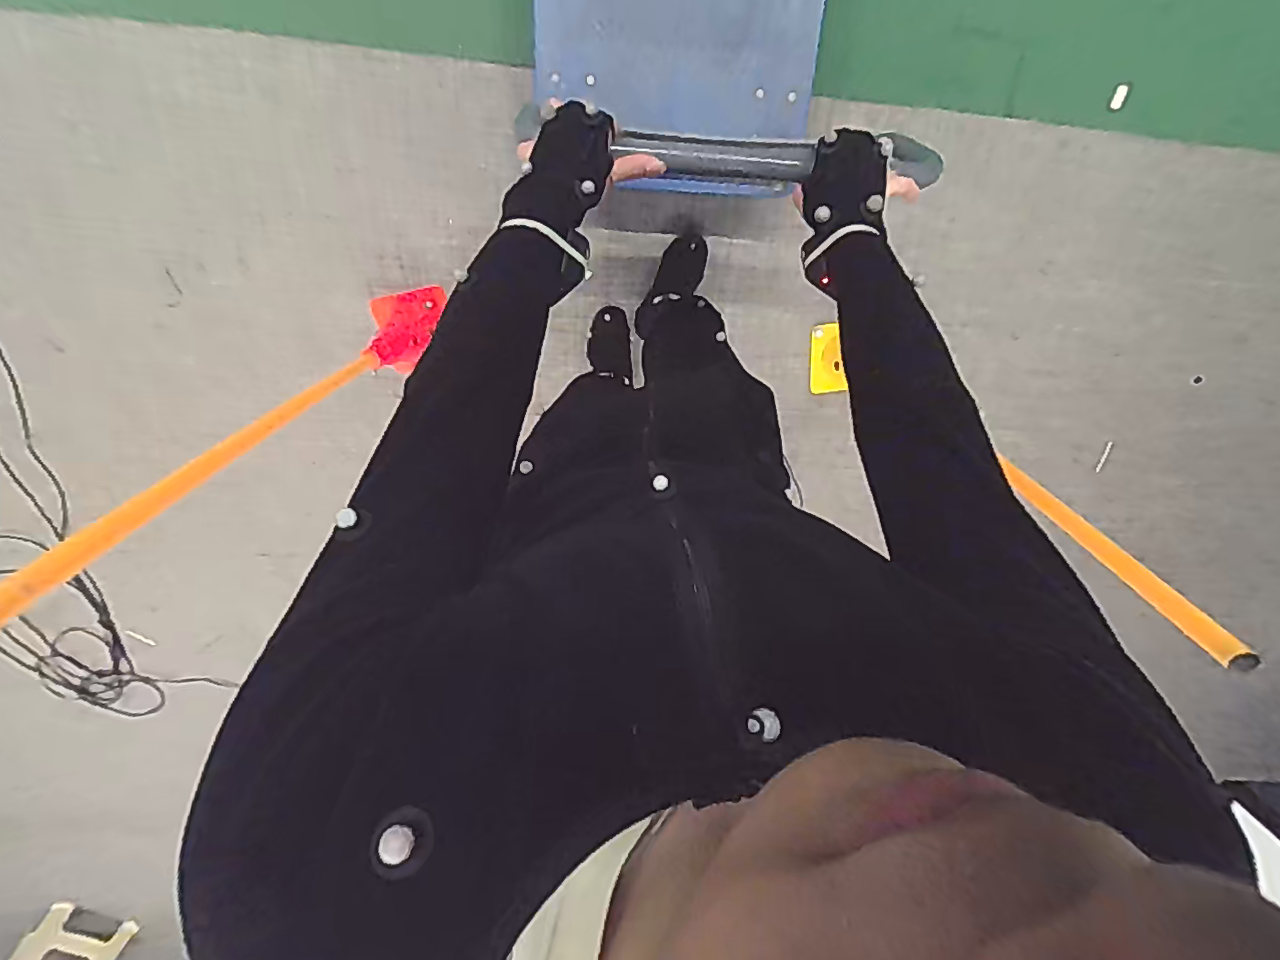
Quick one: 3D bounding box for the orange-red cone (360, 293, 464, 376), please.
[{"bbox_3d":[-0.577,-0.313,1.286,0.199,0.360,0.198,-11,115,2],"label":"orange-red cone"}]
